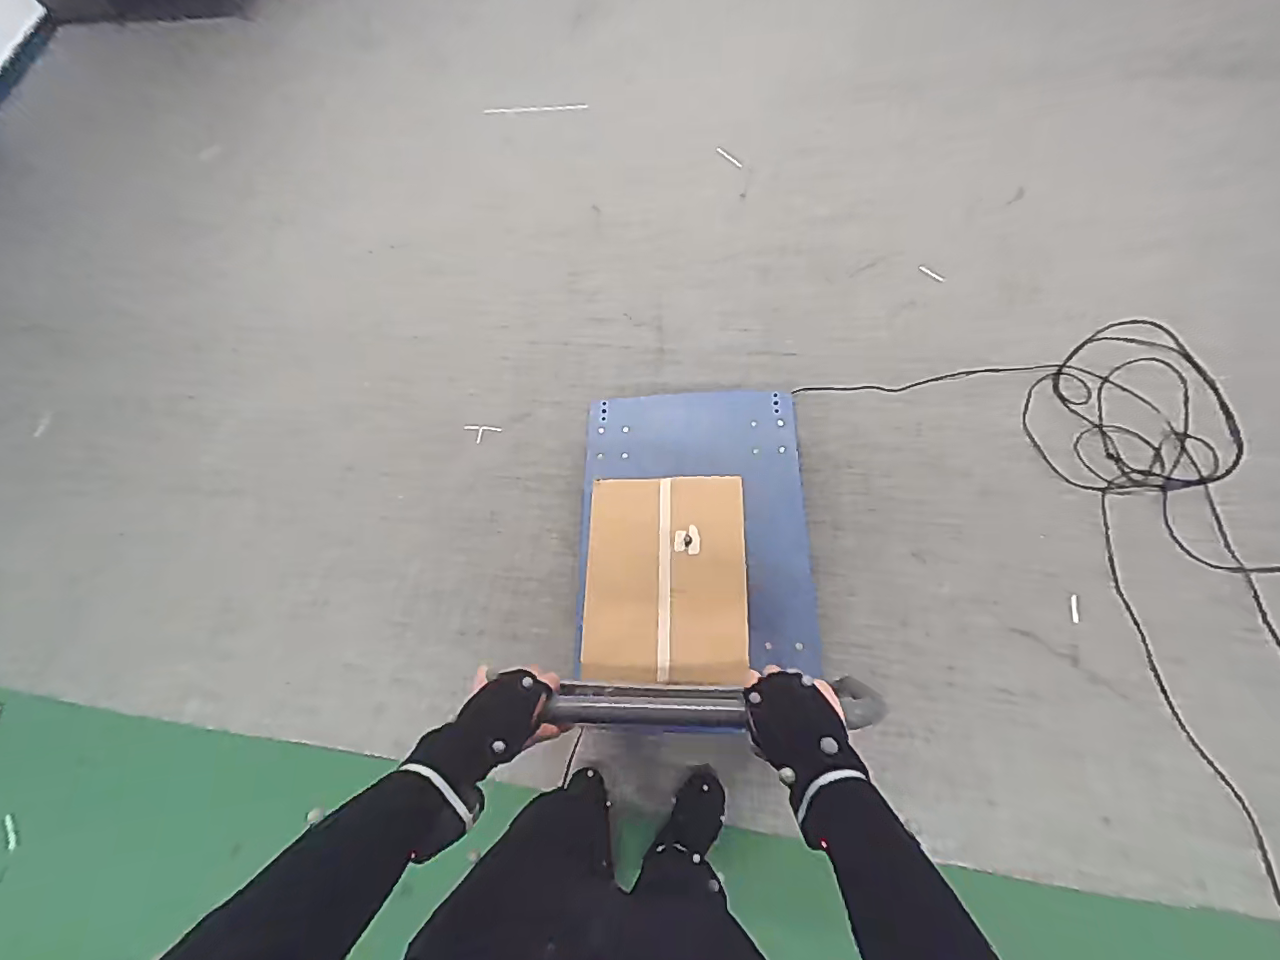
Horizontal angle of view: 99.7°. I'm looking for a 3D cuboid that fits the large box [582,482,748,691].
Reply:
[{"bbox_3d":[0.067,0.252,1.208,0.320,0.320,0.408,-1,67,8],"label":"large box"}]
